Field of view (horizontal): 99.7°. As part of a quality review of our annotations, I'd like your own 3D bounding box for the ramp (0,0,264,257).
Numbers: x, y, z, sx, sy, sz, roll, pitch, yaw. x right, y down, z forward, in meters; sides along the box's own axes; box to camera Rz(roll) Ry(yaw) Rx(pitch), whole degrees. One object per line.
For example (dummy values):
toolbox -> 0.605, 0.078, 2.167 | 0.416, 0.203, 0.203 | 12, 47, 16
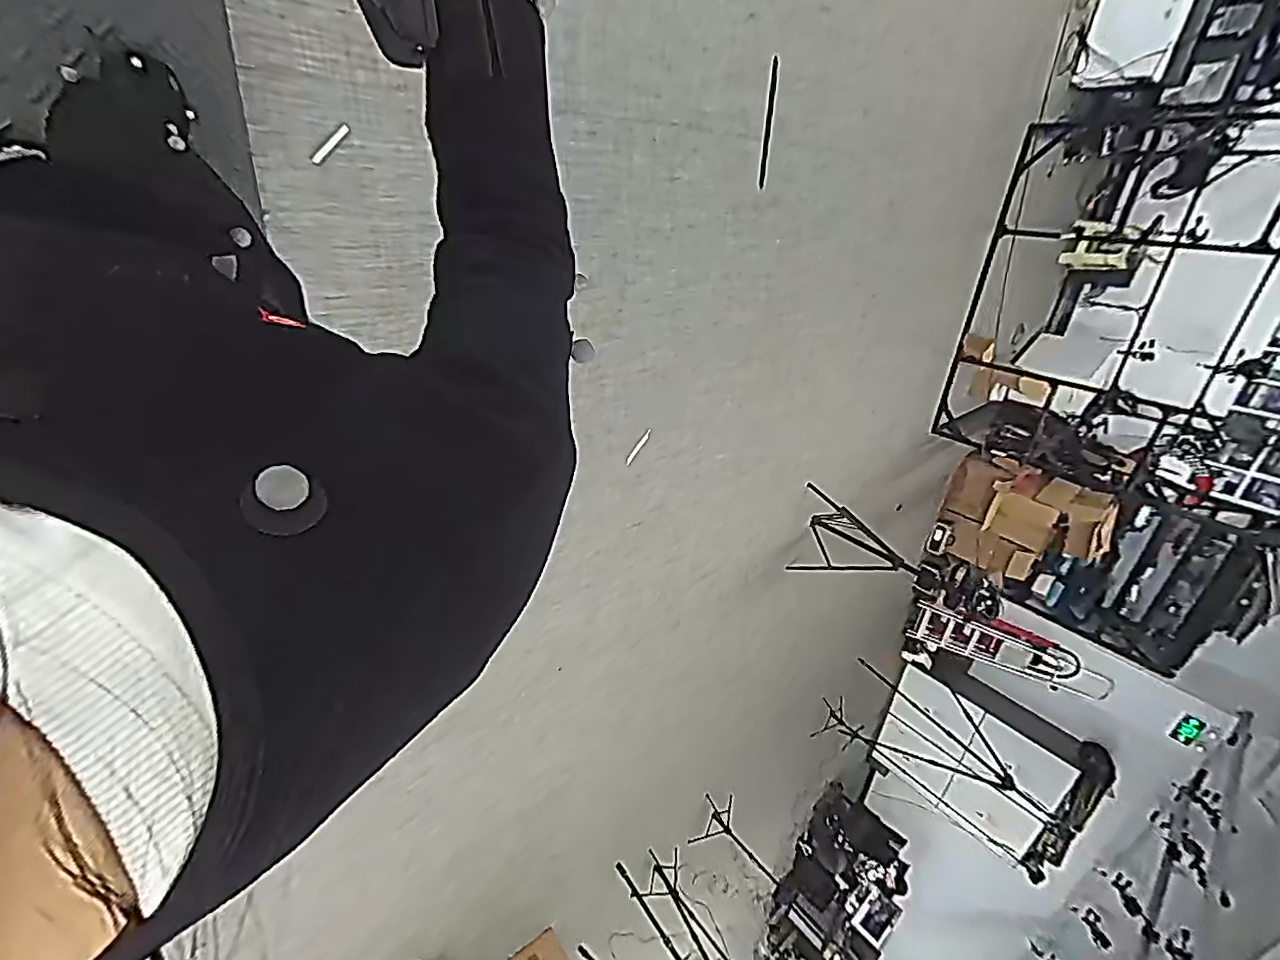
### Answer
ramp -> -0.889, -0.822, 0.736 | 0.509, 0.206, 0.991 | -20, 126, -37
